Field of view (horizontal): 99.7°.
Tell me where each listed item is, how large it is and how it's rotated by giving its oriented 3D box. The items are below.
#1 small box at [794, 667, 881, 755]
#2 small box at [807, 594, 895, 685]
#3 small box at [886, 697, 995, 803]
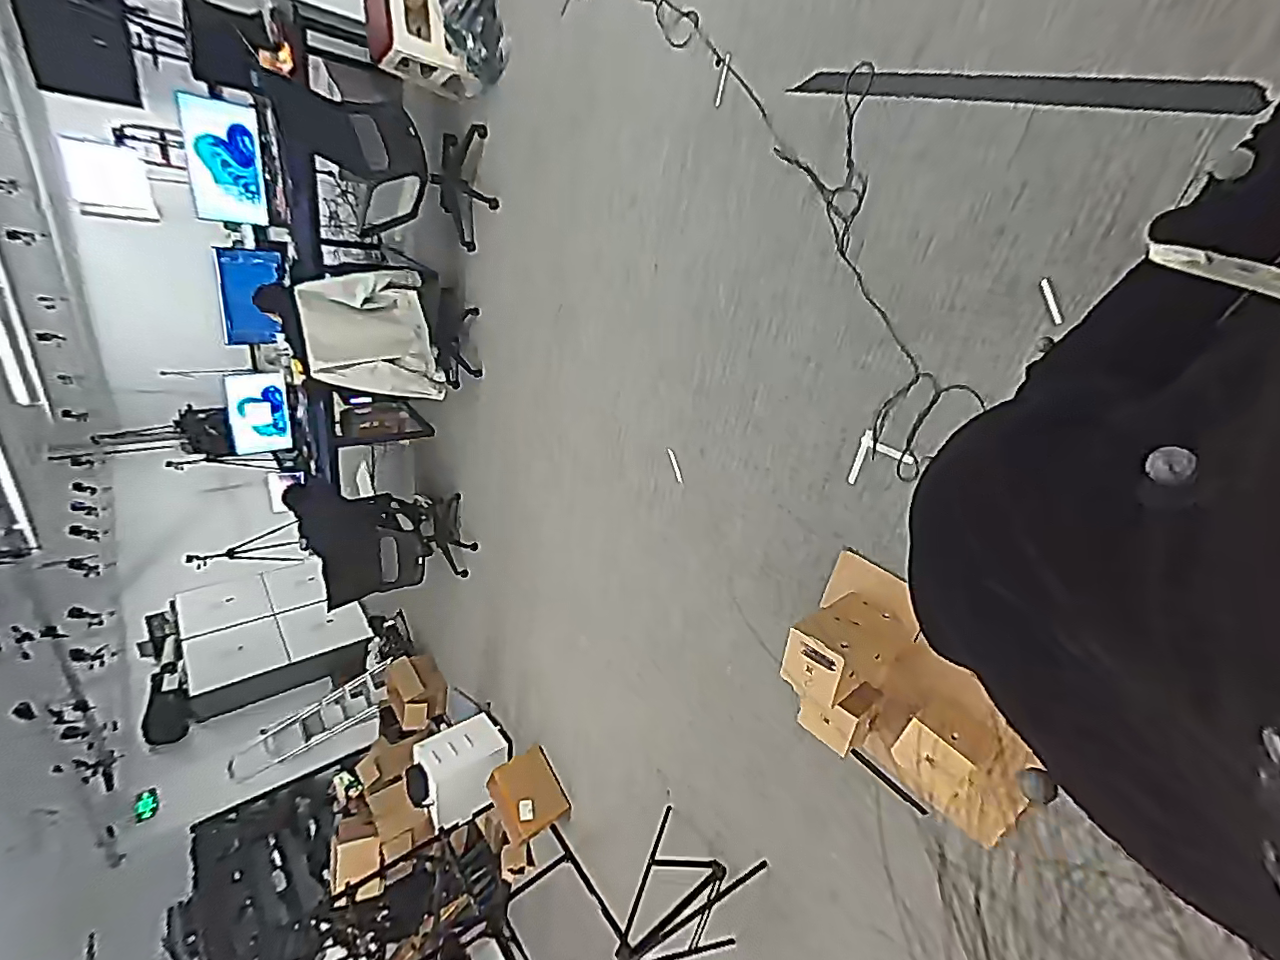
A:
[{"bbox_3d":[0.622,0.714,1.706,0.179,0.176,0.168,28,122,41],"label":"small box"},{"bbox_3d":[0.635,0.469,1.620,0.168,0.176,0.179,29,122,42],"label":"small box"},{"bbox_3d":[0.819,0.721,1.473,0.179,0.176,0.168,37,126,36],"label":"small box"}]
